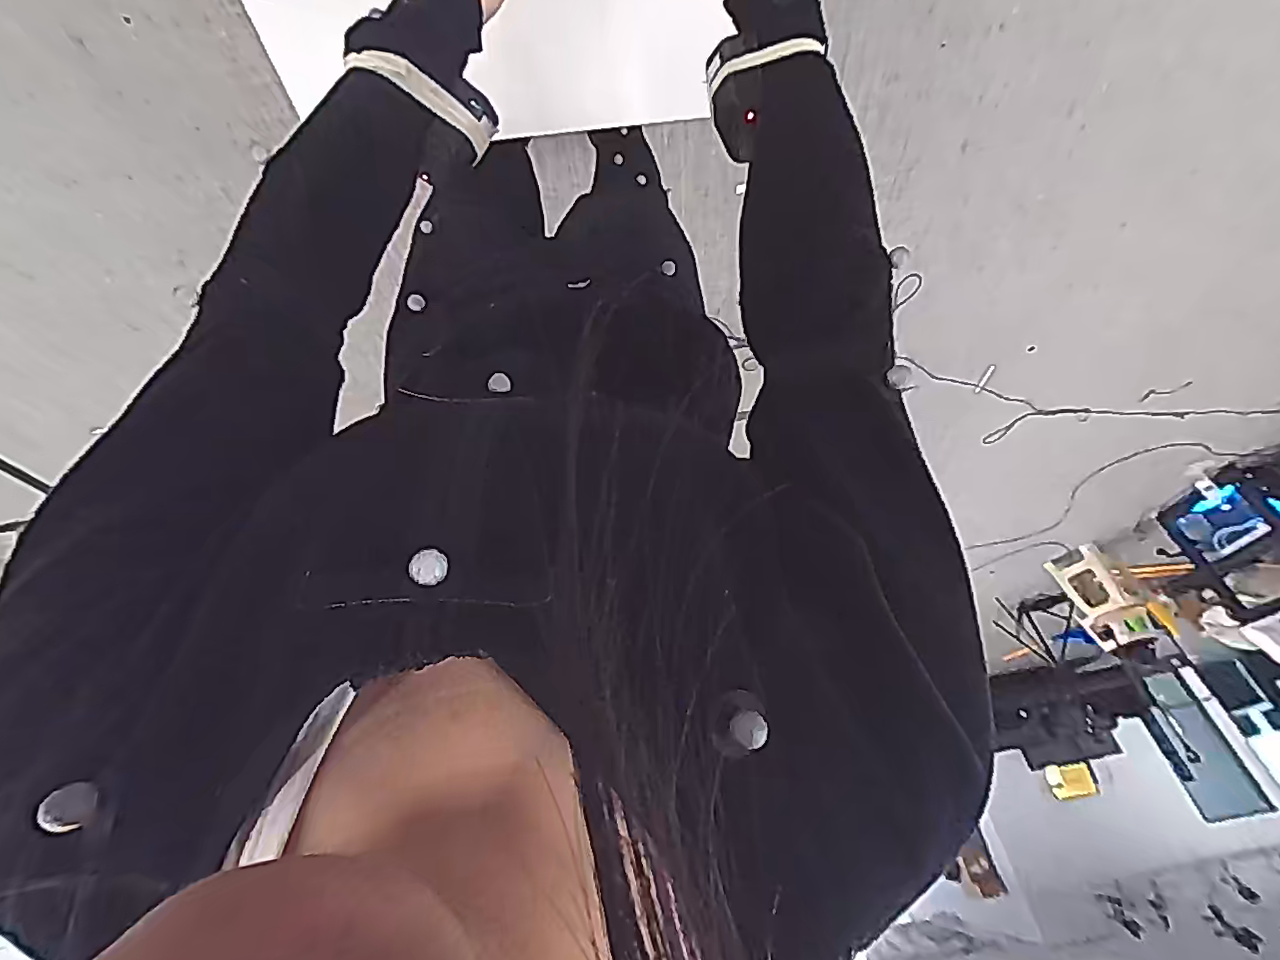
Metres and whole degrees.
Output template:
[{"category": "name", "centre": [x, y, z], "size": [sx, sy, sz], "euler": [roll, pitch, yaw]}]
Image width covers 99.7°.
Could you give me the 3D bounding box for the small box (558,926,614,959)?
[{"category": "small box", "centre": [-0.170, 1.582, 1.761], "size": [0.168, 0.176, 0.179], "euler": [-10, 146, -3]}]

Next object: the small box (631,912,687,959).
[{"category": "small box", "centre": [0.064, 1.546, 1.774], "size": [0.168, 0.176, 0.179], "euler": [-7, 146, -4]}]
